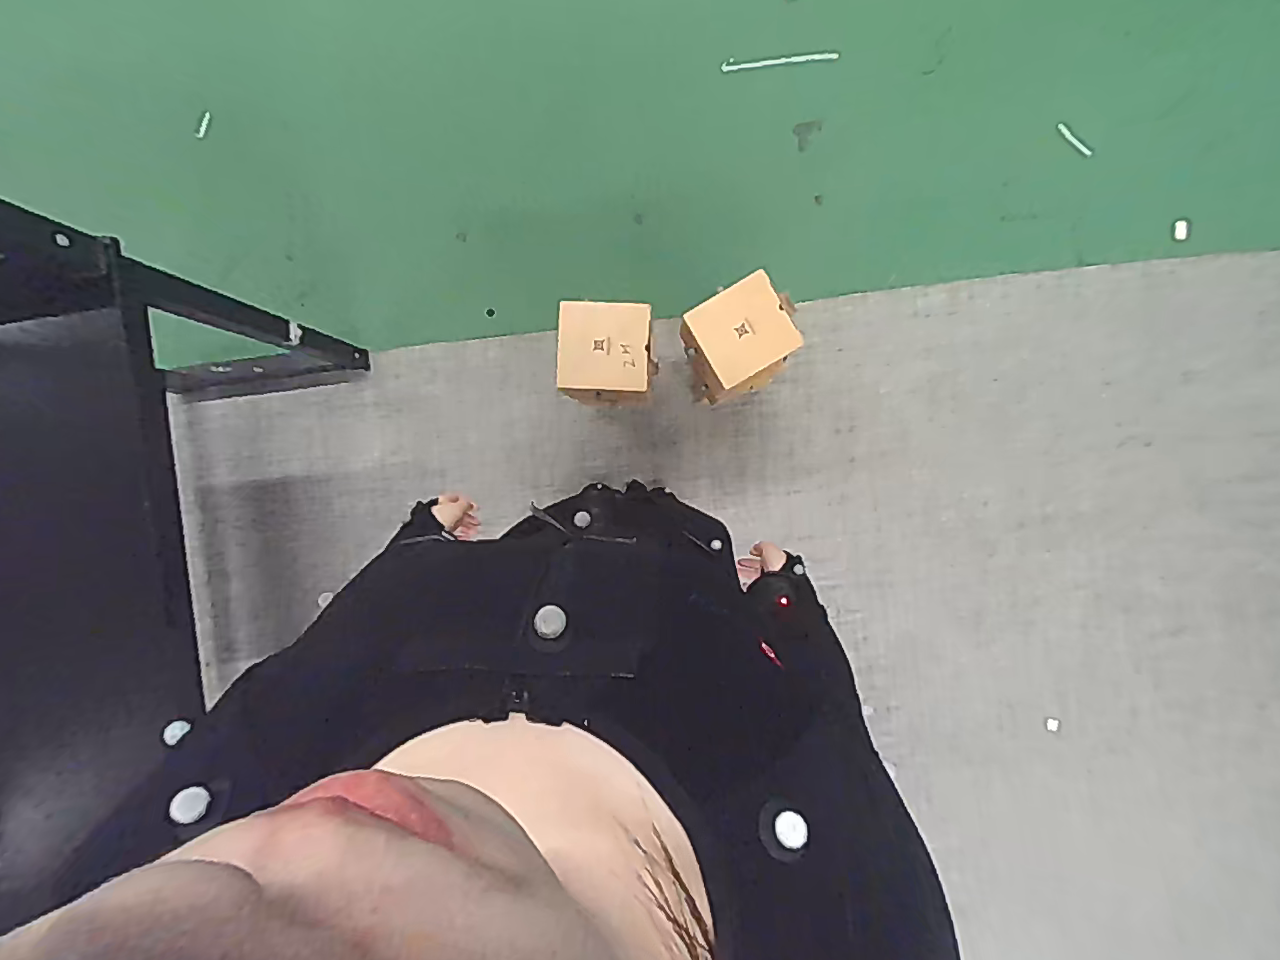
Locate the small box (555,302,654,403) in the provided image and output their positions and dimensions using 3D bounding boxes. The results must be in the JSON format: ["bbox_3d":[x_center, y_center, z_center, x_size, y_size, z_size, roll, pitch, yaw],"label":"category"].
[{"bbox_3d":[-0.065,-0.248,1.084,0.179,0.176,0.168,3,92,2],"label":"small box"}]

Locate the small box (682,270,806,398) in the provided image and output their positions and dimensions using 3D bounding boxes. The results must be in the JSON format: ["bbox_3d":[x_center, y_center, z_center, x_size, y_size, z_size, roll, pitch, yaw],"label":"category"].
[{"bbox_3d":[0.196,-0.279,1.079,0.179,0.176,0.168,-31,92,2],"label":"small box"}]

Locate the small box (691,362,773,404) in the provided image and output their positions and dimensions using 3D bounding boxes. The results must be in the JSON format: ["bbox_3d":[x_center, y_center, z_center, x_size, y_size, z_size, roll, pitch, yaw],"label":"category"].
[{"bbox_3d":[0.229,-0.300,1.403,0.179,0.176,0.168,-13,92,1],"label":"small box"}]

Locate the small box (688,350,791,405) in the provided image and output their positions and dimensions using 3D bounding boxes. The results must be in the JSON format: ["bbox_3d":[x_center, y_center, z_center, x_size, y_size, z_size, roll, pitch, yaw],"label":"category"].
[{"bbox_3d":[0.217,-0.283,1.242,0.179,0.176,0.168,-26,93,2],"label":"small box"}]
